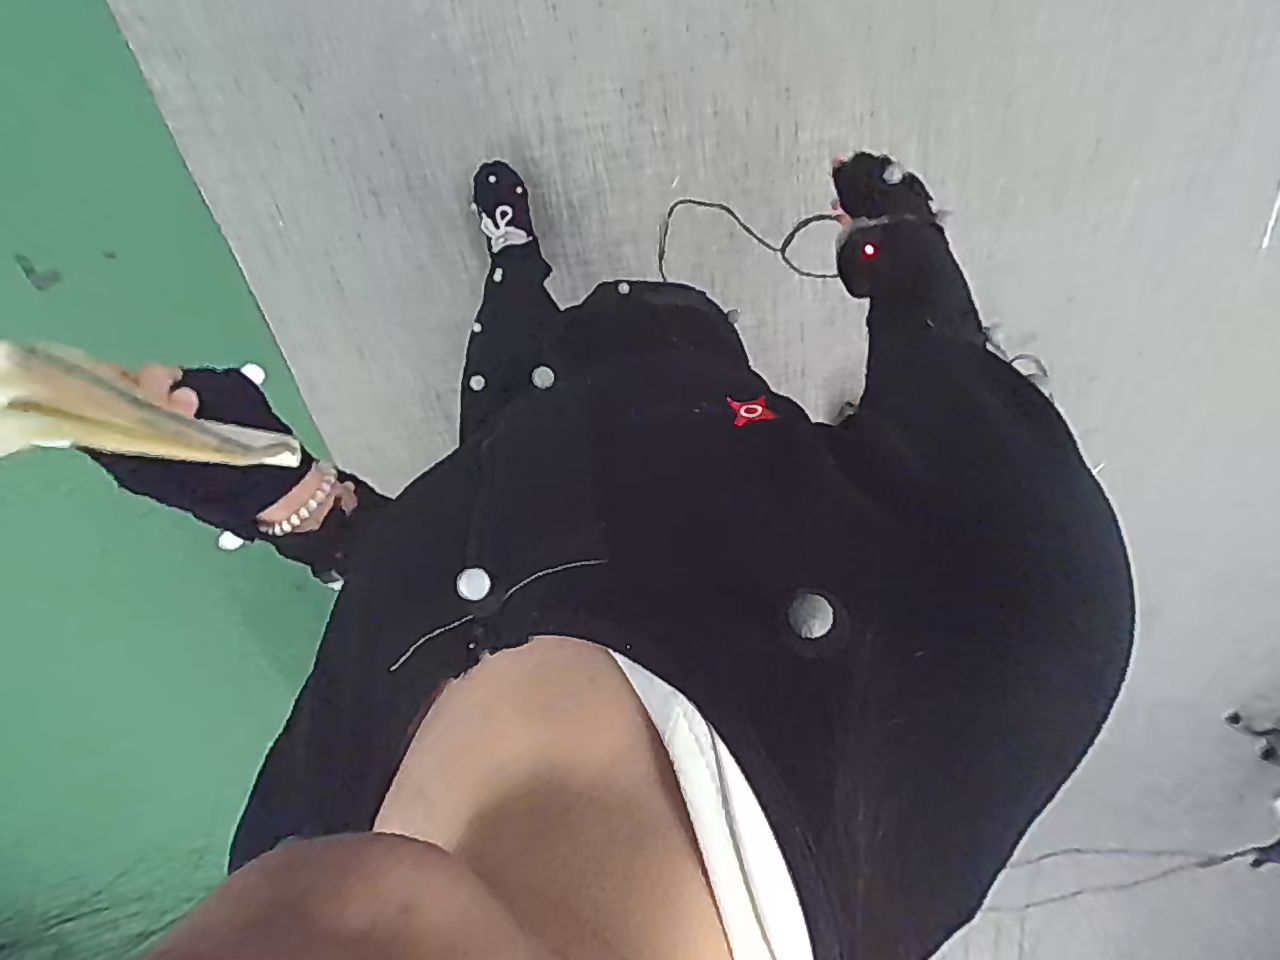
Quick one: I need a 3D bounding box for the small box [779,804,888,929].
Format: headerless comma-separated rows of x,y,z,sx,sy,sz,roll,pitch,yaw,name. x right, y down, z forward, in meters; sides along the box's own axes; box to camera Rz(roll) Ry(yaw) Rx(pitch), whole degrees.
0.390,0.774,1.115,0.168,0.176,0.179,-8,117,2,small box
